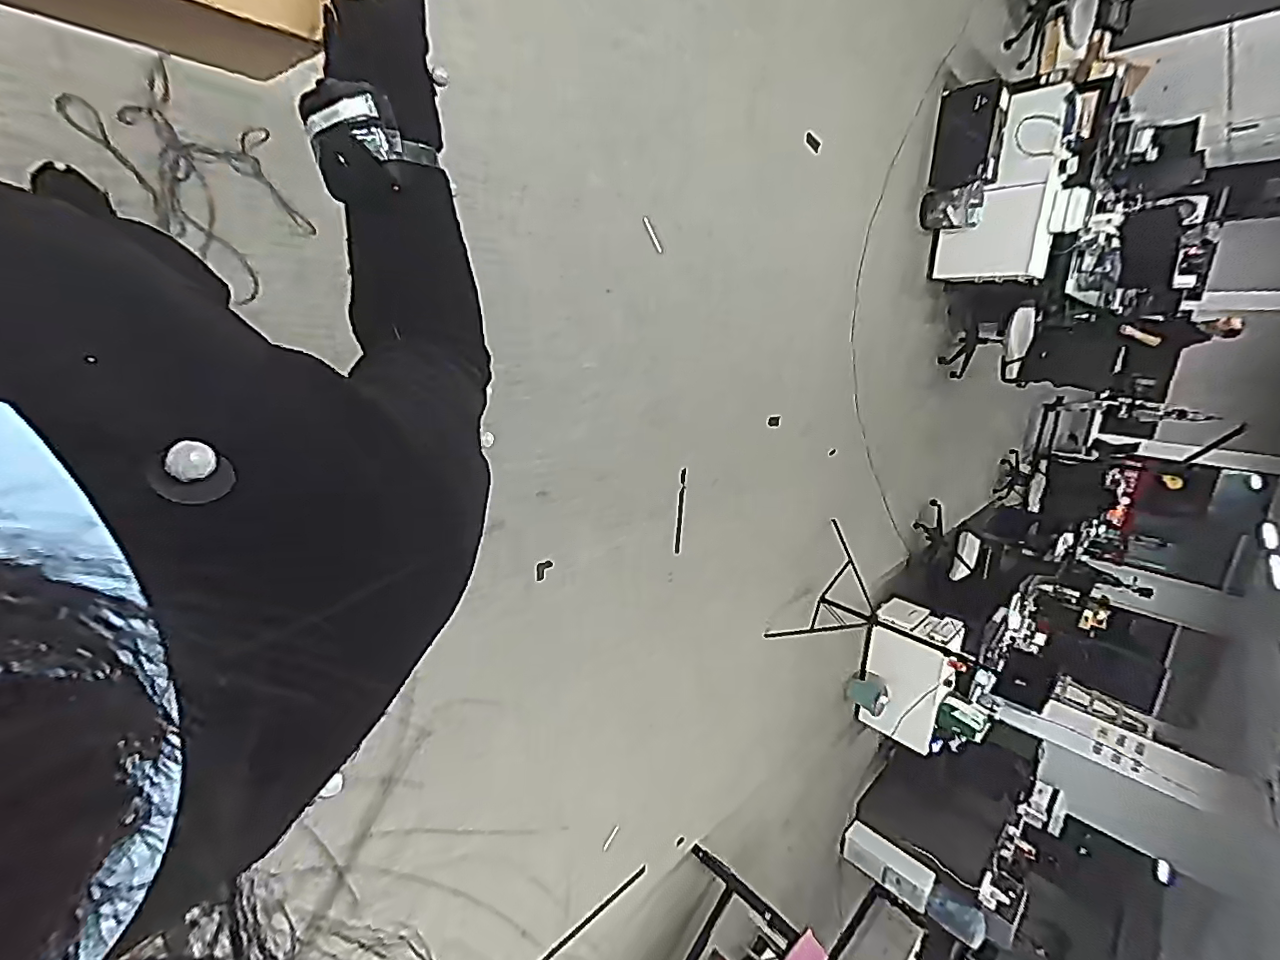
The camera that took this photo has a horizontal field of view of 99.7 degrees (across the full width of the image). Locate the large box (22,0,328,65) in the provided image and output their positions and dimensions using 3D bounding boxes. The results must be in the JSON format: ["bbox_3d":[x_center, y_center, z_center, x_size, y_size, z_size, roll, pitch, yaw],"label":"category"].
[{"bbox_3d":[-0.434,-0.487,0.298,0.408,0.320,0.320,-8,119,-38],"label":"large box"}]
